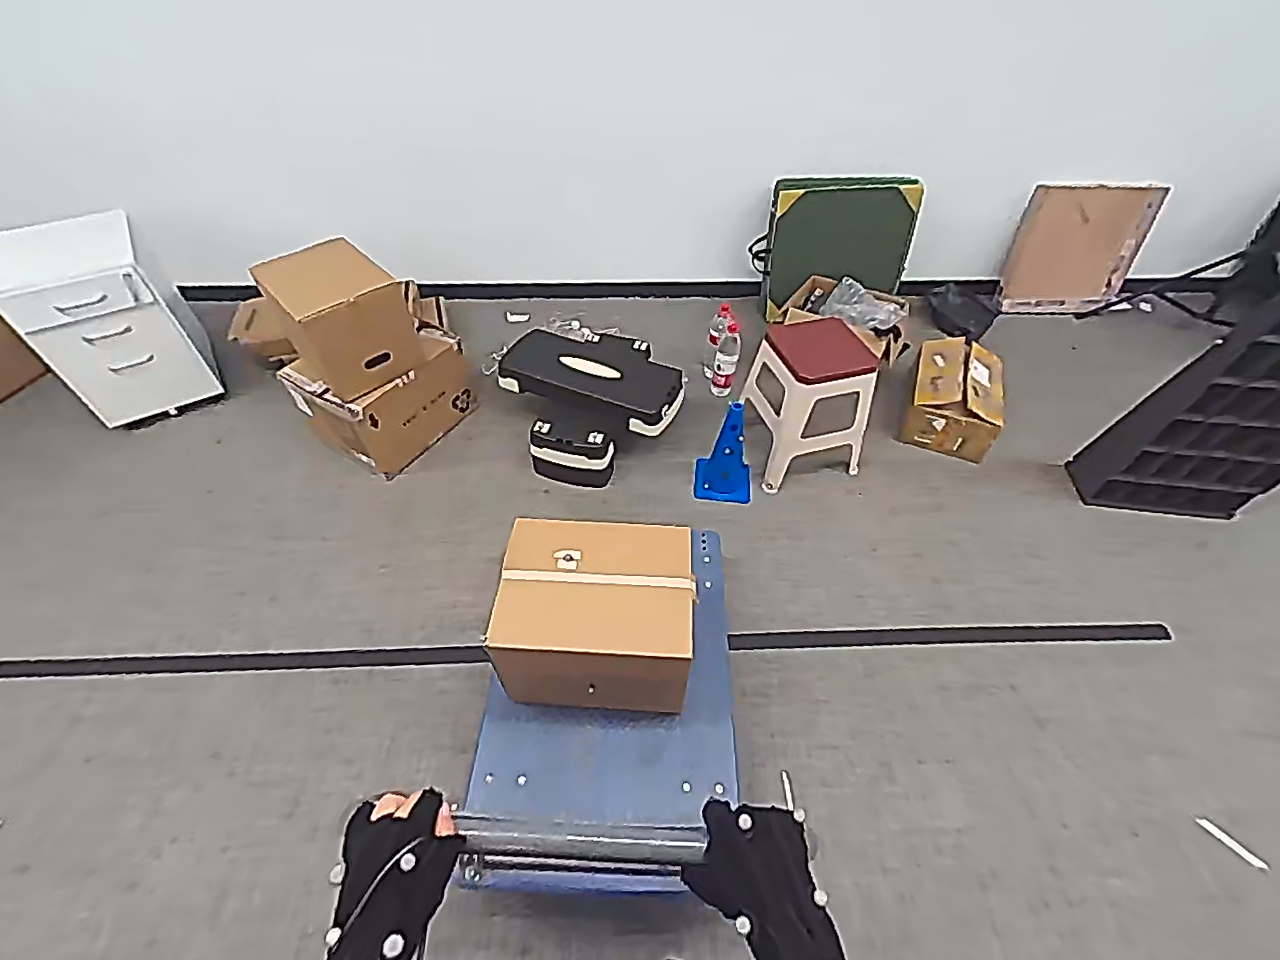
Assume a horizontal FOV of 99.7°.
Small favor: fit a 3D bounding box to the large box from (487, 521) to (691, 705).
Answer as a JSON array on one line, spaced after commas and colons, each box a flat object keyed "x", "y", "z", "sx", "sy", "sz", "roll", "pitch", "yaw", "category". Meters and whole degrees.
[{"x": -0.093, "y": 0.313, "z": 1.254, "sx": 0.408, "sy": 0.320, "sz": 0.320, "roll": 3, "pitch": 49, "yaw": 2, "category": "large box"}]
